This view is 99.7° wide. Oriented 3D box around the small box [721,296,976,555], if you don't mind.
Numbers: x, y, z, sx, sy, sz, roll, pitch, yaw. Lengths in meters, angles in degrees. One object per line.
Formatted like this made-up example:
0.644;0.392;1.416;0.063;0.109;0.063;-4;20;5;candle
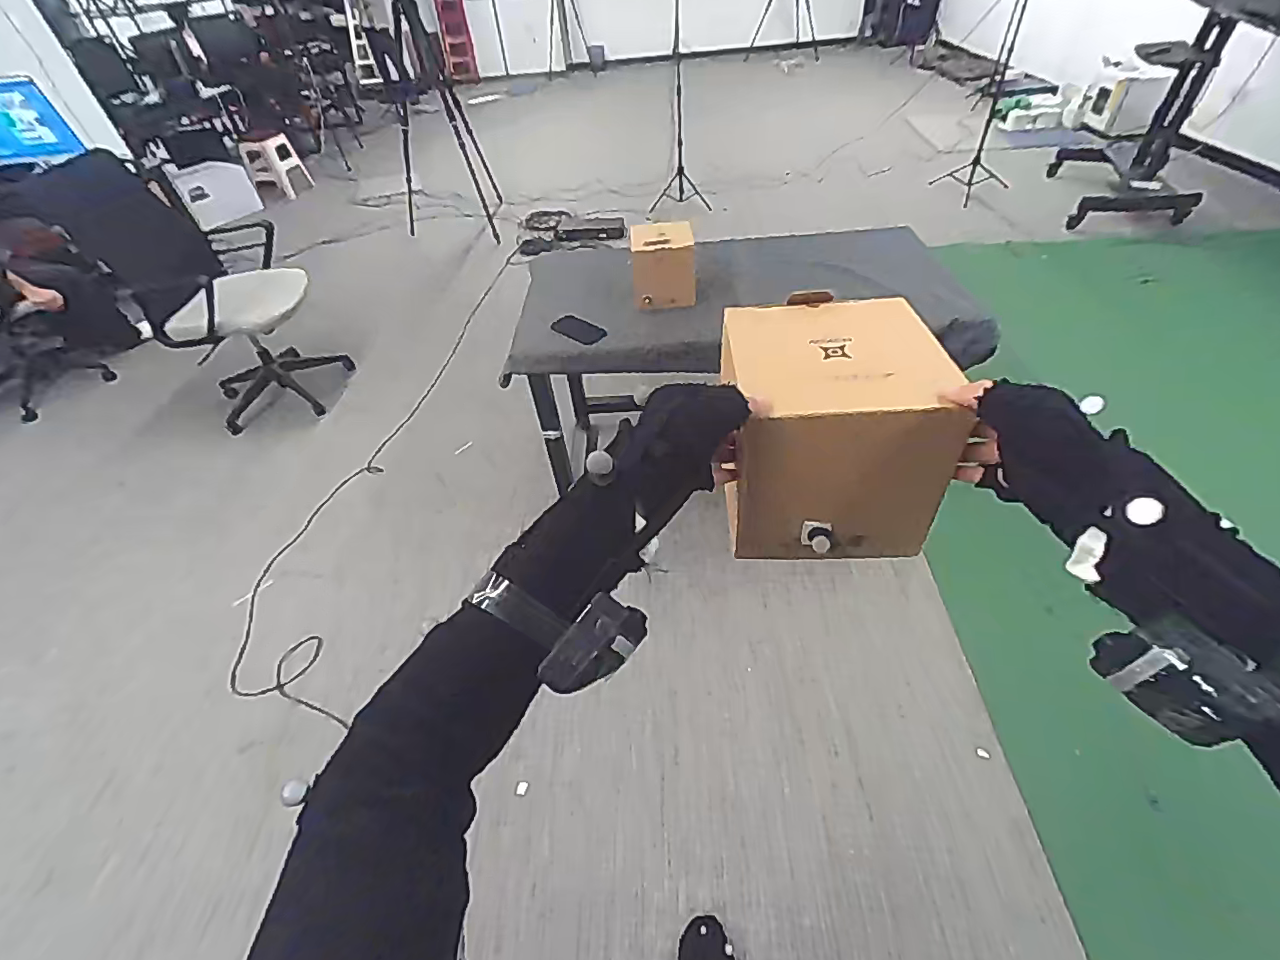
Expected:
0.165;-0.050;0.502;0.168;0.176;0.179;-3;45;4;small box

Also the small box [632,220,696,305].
0.067;-0.597;1.498;0.168;0.176;0.179;-4;44;2;small box
